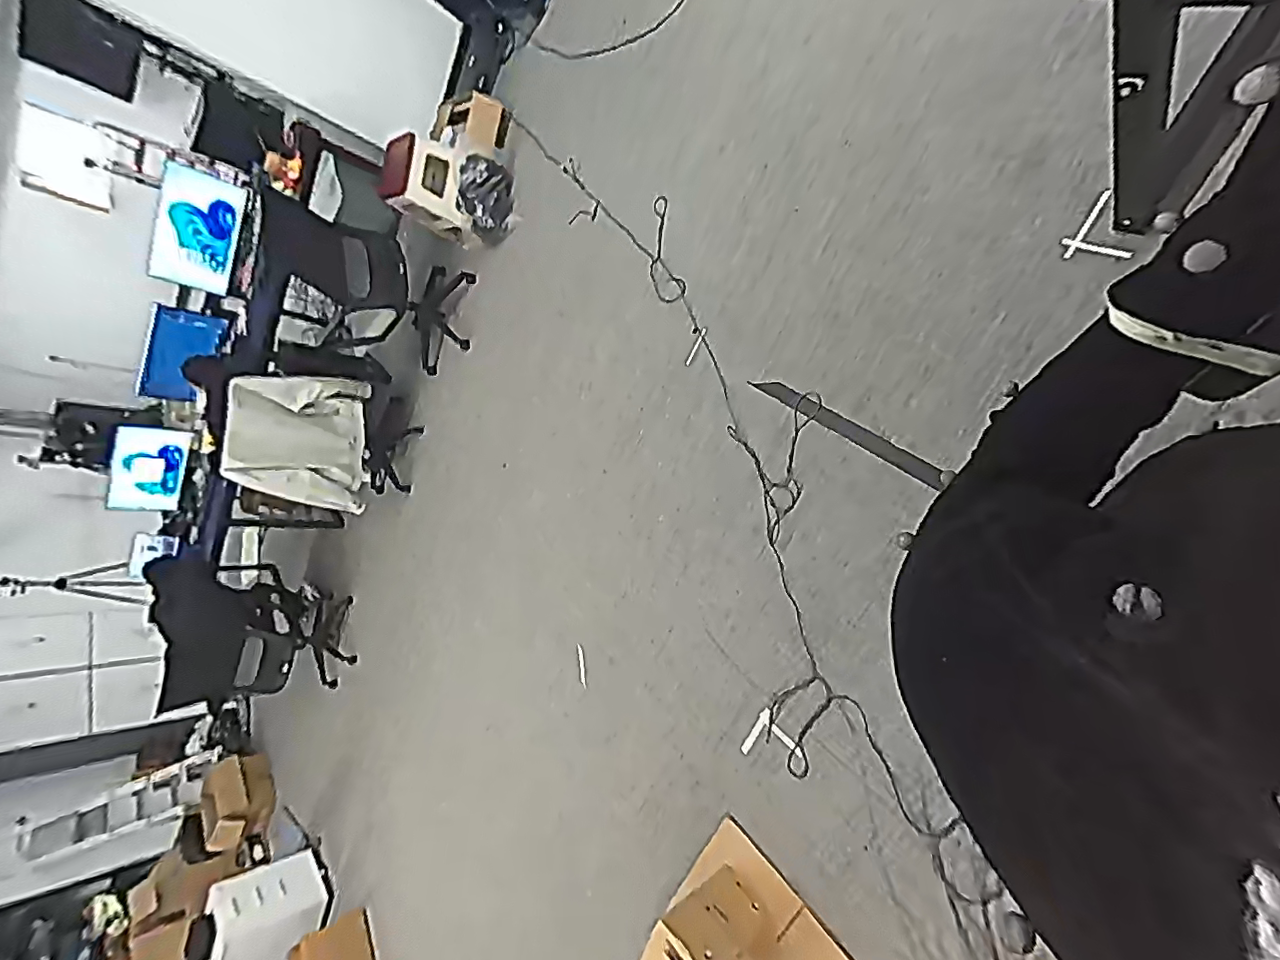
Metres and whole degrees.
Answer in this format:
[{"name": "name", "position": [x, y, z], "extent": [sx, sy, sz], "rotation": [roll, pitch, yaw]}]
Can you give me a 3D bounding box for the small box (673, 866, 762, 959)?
[{"name": "small box", "position": [0.232, 1.285, 1.577], "extent": [0.168, 0.176, 0.179], "rotation": [33, 108, 39]}]
